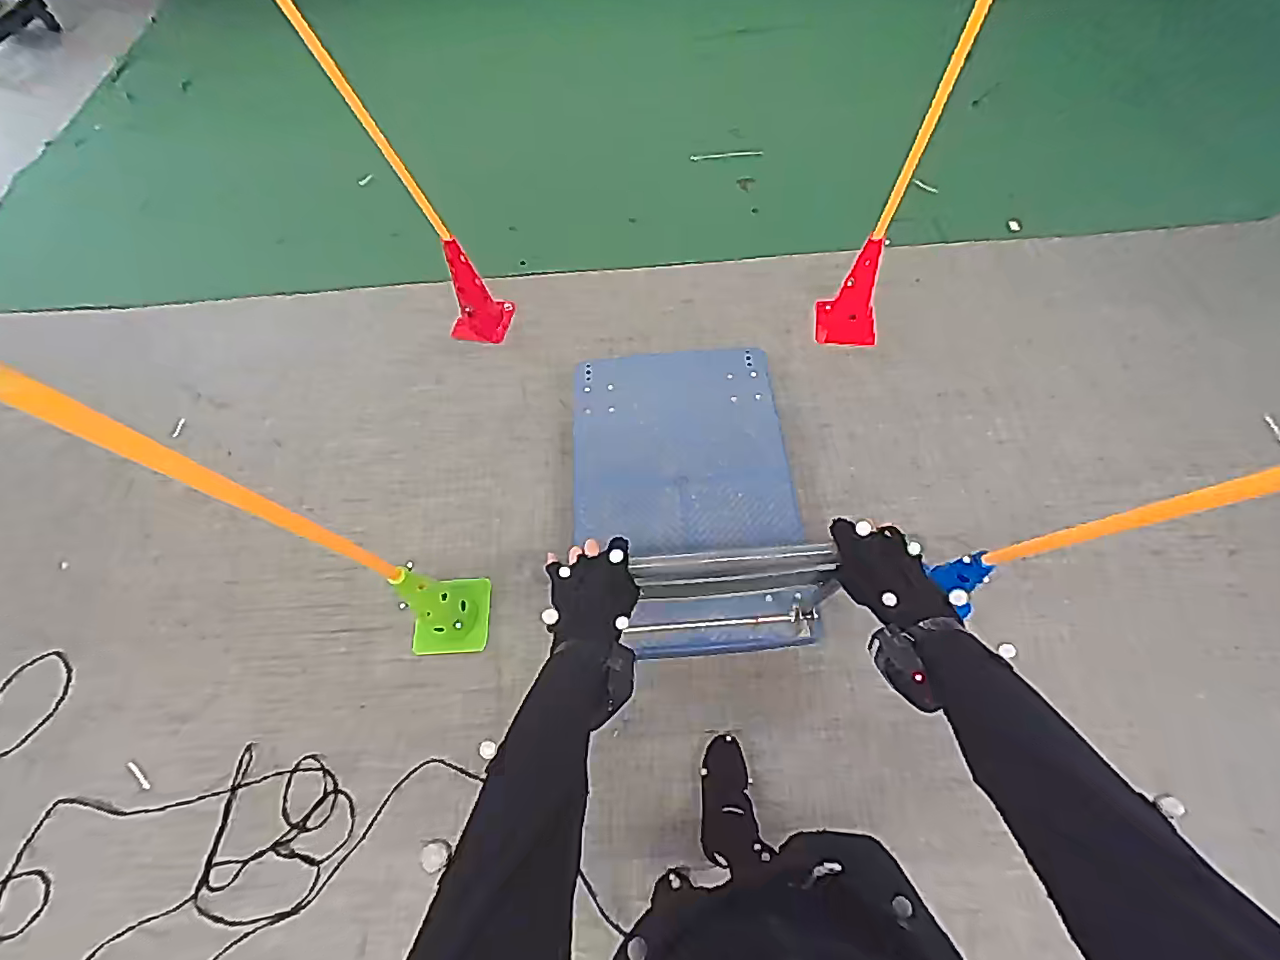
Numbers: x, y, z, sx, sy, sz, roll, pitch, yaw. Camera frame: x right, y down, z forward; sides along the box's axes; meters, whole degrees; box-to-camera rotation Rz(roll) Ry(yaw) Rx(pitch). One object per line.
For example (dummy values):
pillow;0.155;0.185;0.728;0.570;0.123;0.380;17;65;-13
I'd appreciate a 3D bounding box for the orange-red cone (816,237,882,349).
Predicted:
orange-red cone;0.700;-0.611;1.722;0.198;0.360;0.199;6;64;8
